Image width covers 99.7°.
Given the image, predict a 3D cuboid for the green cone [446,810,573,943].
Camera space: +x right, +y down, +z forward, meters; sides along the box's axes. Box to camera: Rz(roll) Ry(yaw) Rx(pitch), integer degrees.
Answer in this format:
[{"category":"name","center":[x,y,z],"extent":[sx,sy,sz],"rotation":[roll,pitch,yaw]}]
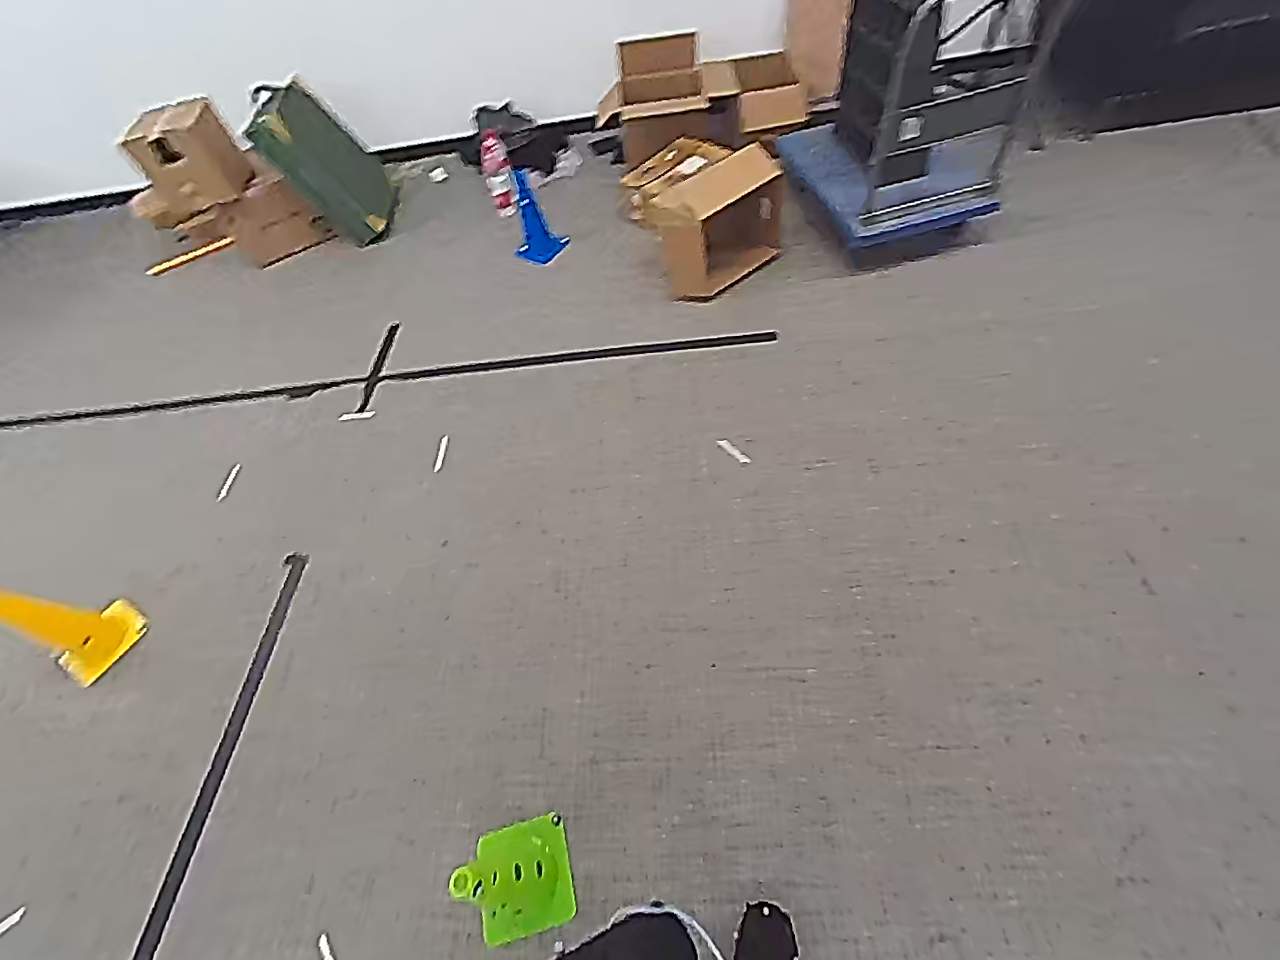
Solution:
[{"category":"green cone","center":[-0.279,0.758,1.029],"extent":[0.200,0.368,0.202],"rotation":[-17,56,-2]}]
